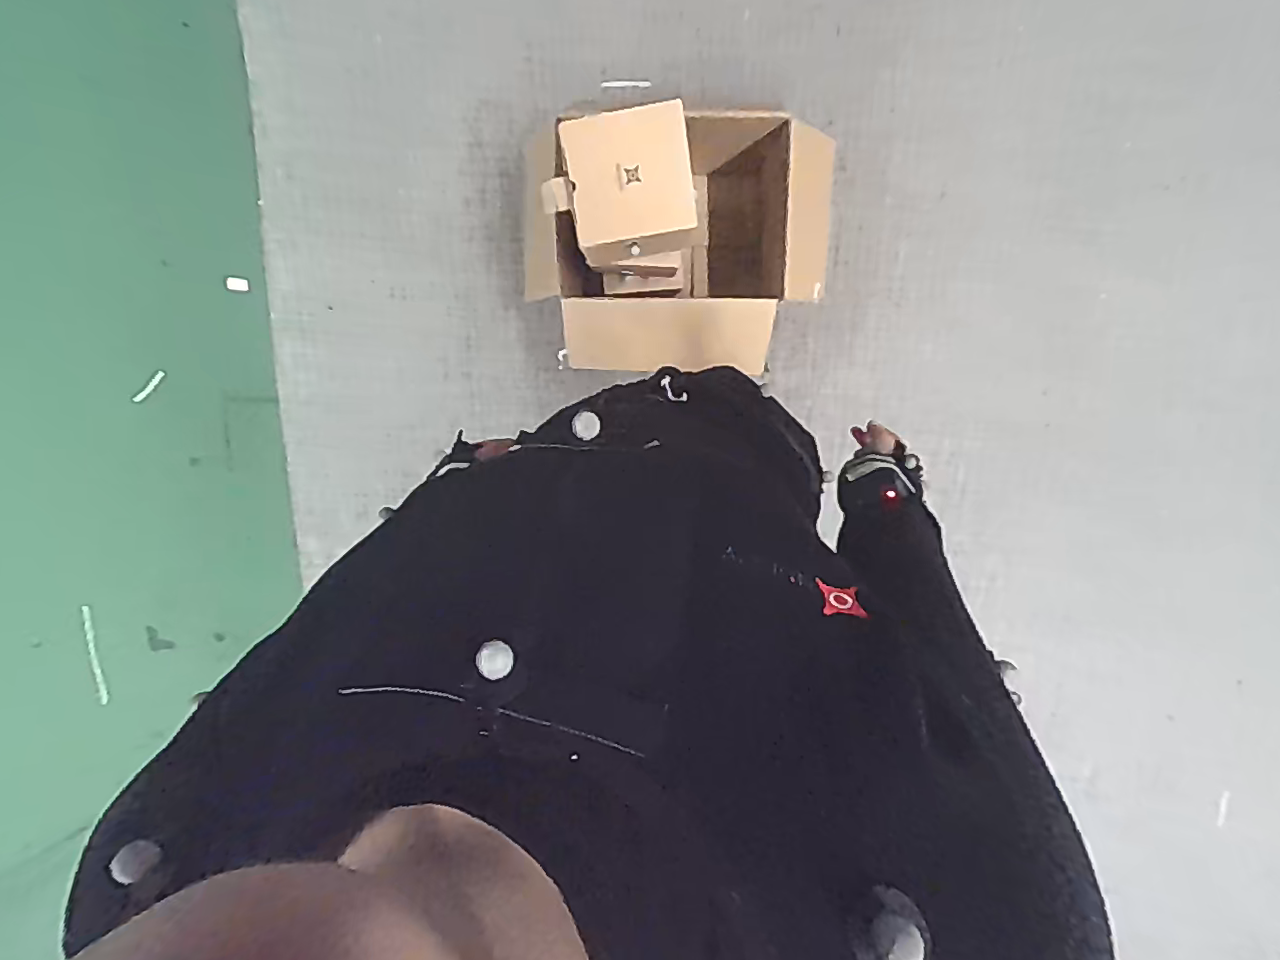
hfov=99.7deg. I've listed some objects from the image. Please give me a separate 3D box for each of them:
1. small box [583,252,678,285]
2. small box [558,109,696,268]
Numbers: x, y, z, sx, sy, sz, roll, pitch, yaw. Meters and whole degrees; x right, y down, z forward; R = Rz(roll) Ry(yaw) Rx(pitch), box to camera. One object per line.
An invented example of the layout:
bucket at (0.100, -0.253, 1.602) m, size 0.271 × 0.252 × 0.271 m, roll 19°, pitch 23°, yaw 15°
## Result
small box at (-0.014, -0.466, 0.997) m, size 0.168 × 0.176 × 0.179 m, roll 3°, pitch 104°, yaw -1°
small box at (-0.017, -0.437, 0.837) m, size 0.179 × 0.176 × 0.168 m, roll -9°, pitch 103°, yaw 3°
